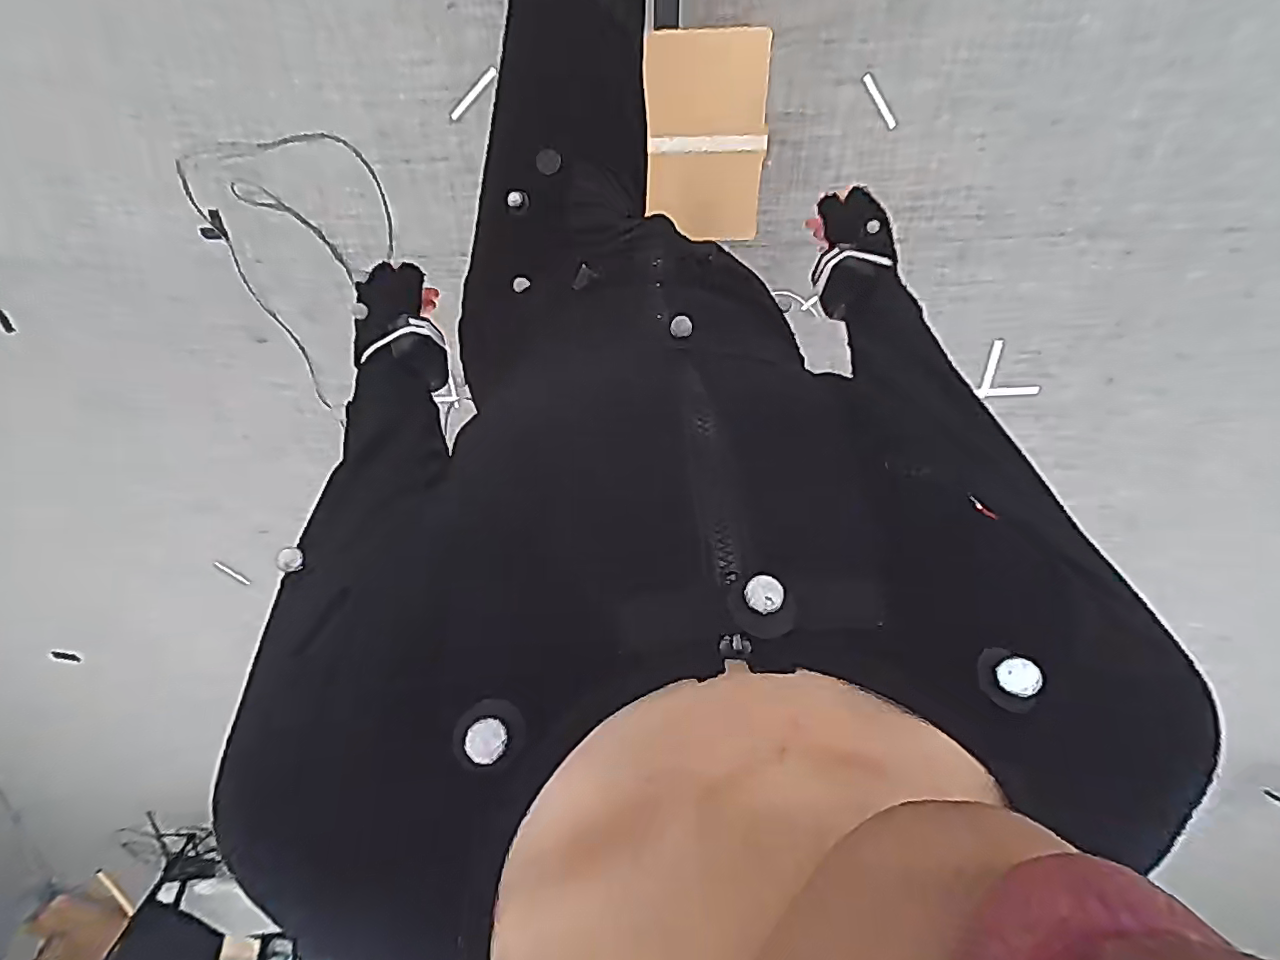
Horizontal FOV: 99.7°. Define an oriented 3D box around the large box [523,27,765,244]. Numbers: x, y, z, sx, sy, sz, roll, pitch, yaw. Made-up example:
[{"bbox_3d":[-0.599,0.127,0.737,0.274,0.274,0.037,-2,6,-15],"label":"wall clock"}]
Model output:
[{"bbox_3d":[0.021,-0.670,1.075,0.408,0.320,0.320,1,123,4],"label":"large box"}]
